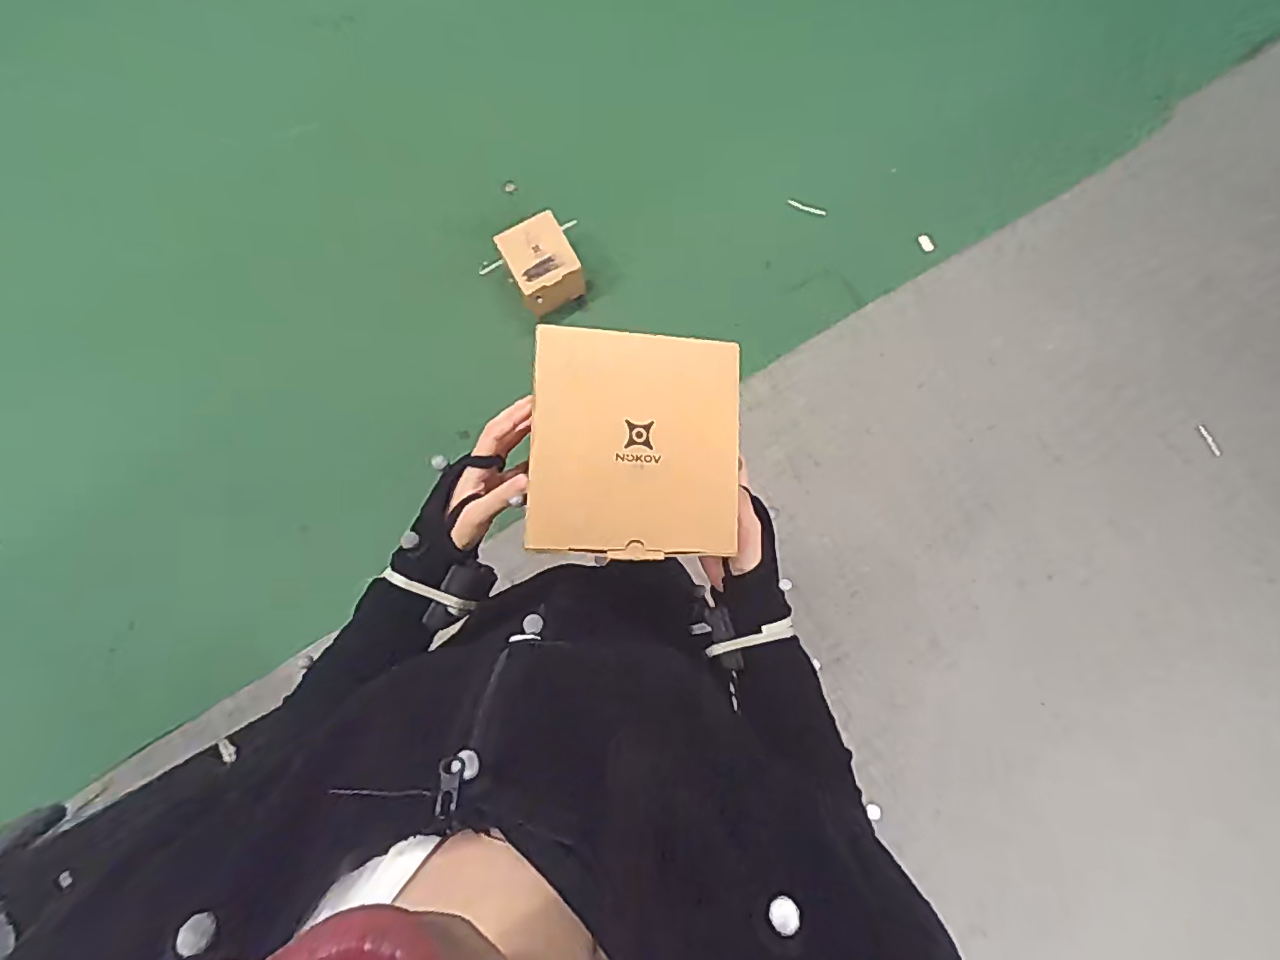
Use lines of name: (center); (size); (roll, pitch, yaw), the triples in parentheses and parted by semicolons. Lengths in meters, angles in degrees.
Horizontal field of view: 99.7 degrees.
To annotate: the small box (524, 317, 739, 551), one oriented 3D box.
small box: (-0.018, -0.025, 0.490); (0.168, 0.176, 0.179); (2, 83, -11)
